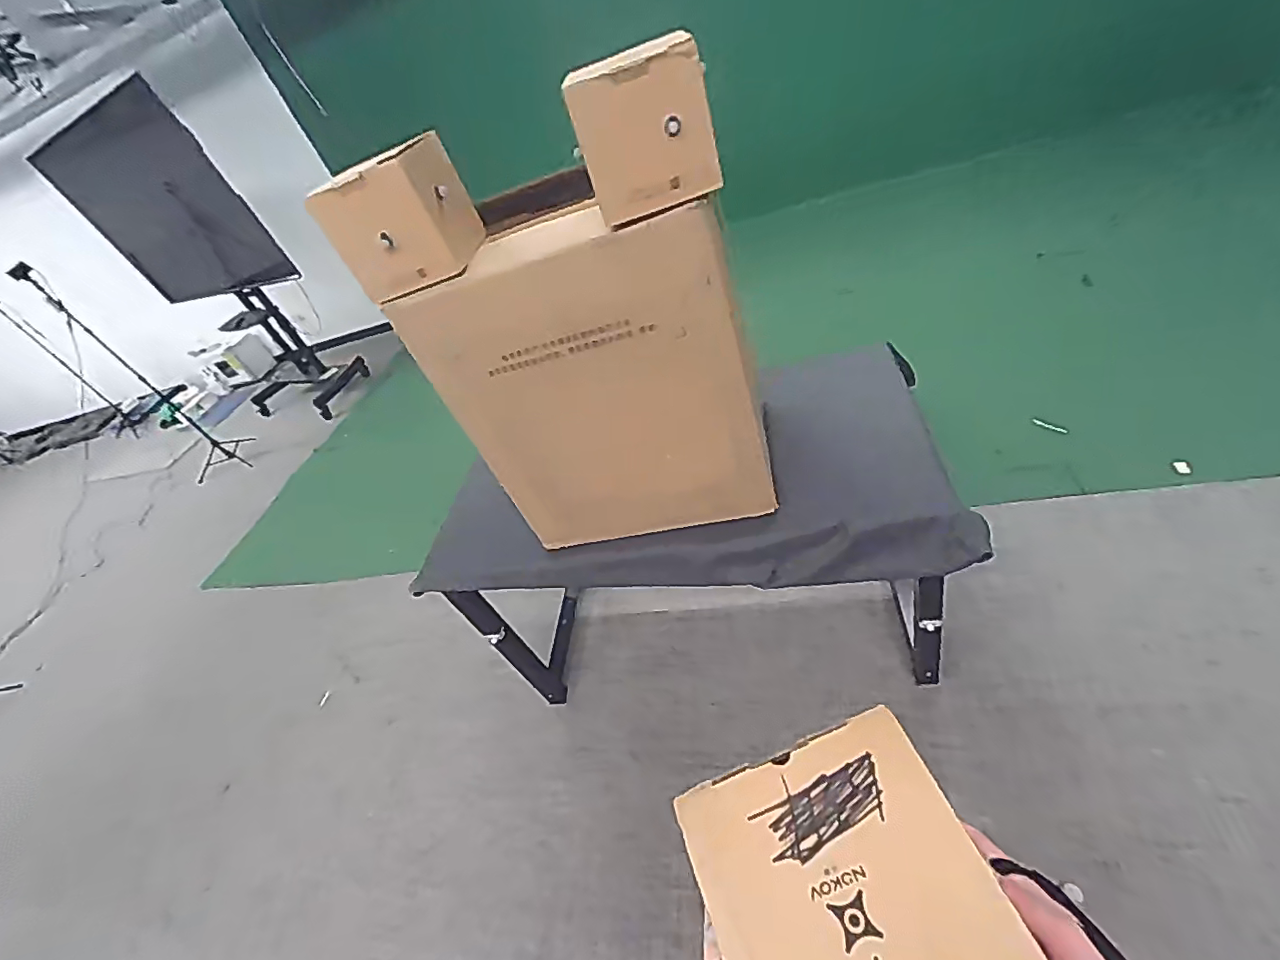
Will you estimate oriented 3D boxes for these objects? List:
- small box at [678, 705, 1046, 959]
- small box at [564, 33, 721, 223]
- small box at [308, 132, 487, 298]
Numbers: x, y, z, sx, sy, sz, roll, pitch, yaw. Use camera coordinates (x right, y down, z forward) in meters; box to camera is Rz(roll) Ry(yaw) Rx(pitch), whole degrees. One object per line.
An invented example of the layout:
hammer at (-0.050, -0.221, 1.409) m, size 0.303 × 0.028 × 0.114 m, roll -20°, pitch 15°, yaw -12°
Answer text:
small box at (0.146, 0.294, 0.380) m, size 0.168 × 0.176 × 0.179 m, roll -25°, pitch 49°, yaw 2°
small box at (0.008, -0.475, 0.740) m, size 0.168 × 0.176 × 0.179 m, roll -14°, pitch 40°, yaw 9°
small box at (-0.366, -0.411, 0.858) m, size 0.168 × 0.176 × 0.179 m, roll -14°, pitch 41°, yaw 14°
